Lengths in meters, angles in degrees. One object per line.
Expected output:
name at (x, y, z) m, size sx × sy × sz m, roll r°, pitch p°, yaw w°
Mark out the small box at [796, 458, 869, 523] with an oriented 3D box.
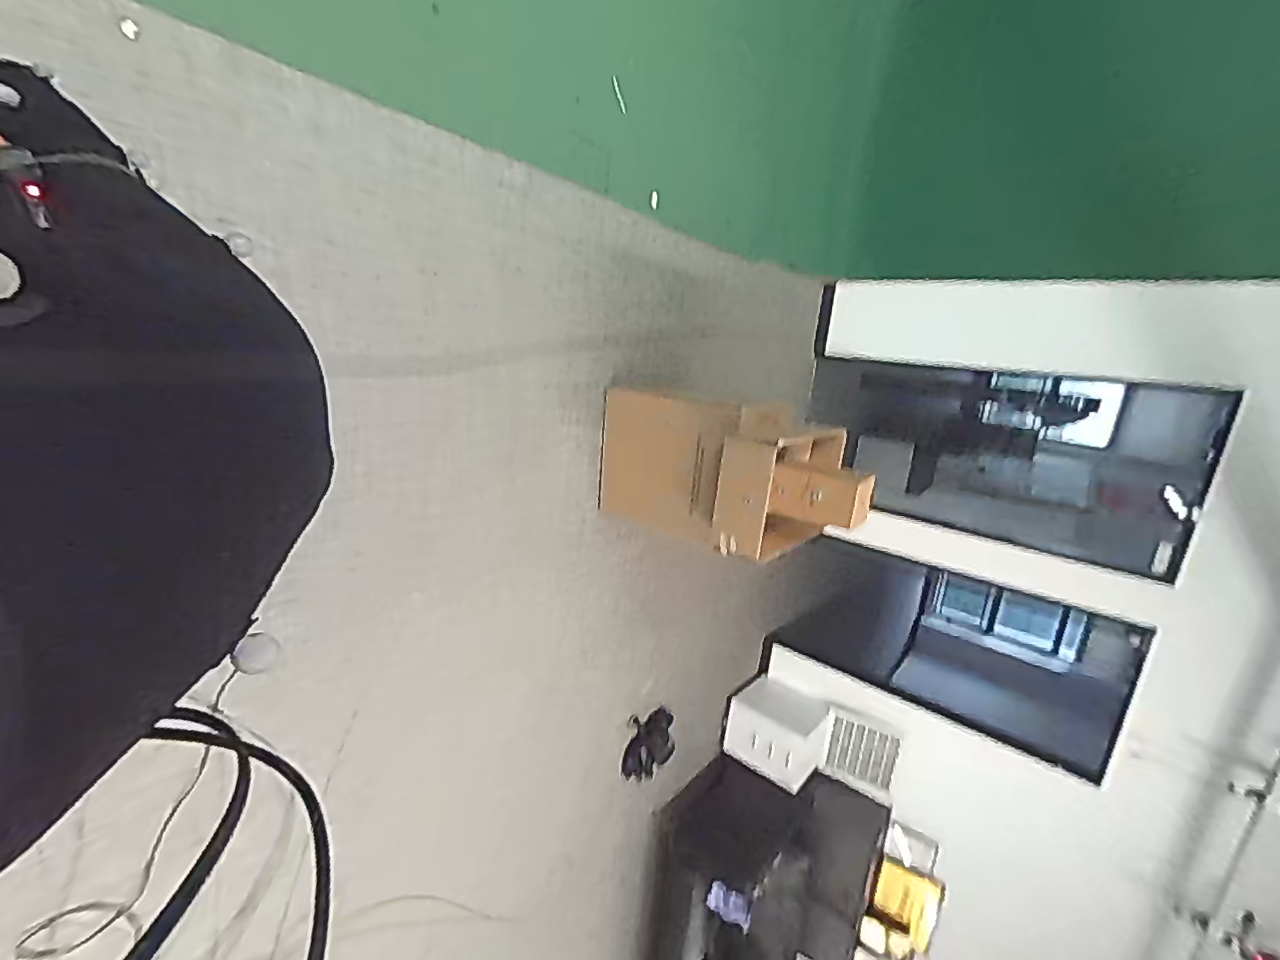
small box at (0.655, 0.027, 1.841) m, size 0.179 × 0.176 × 0.168 m, roll -16°, pitch 116°, yaw -48°
